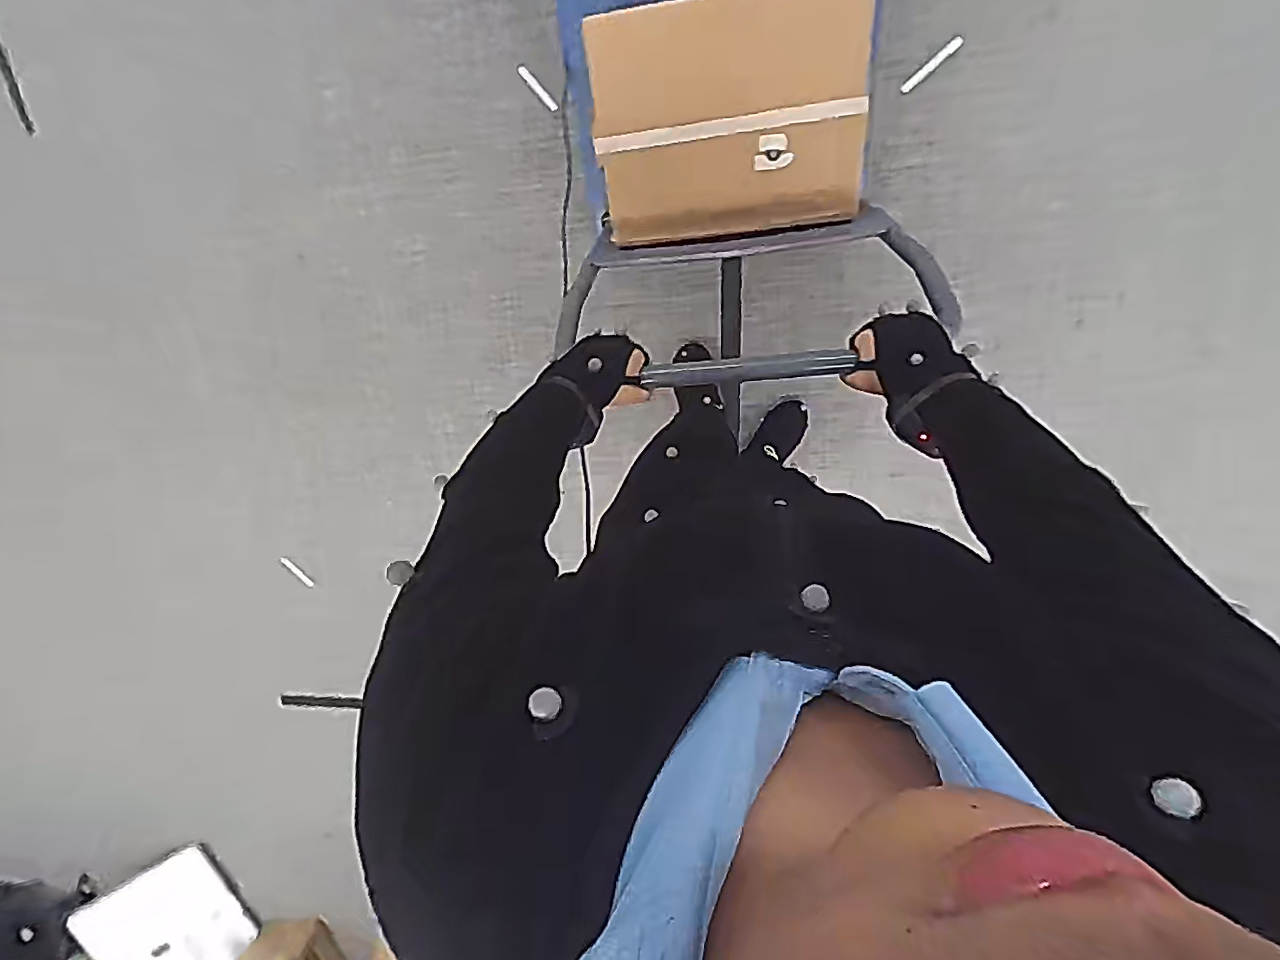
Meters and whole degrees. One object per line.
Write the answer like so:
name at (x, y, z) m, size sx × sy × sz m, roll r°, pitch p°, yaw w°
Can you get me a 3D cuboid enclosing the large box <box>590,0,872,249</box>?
large box at (0.154, -0.631, 0.965) m, size 0.408 × 0.320 × 0.320 m, roll -4°, pitch 124°, yaw 8°
